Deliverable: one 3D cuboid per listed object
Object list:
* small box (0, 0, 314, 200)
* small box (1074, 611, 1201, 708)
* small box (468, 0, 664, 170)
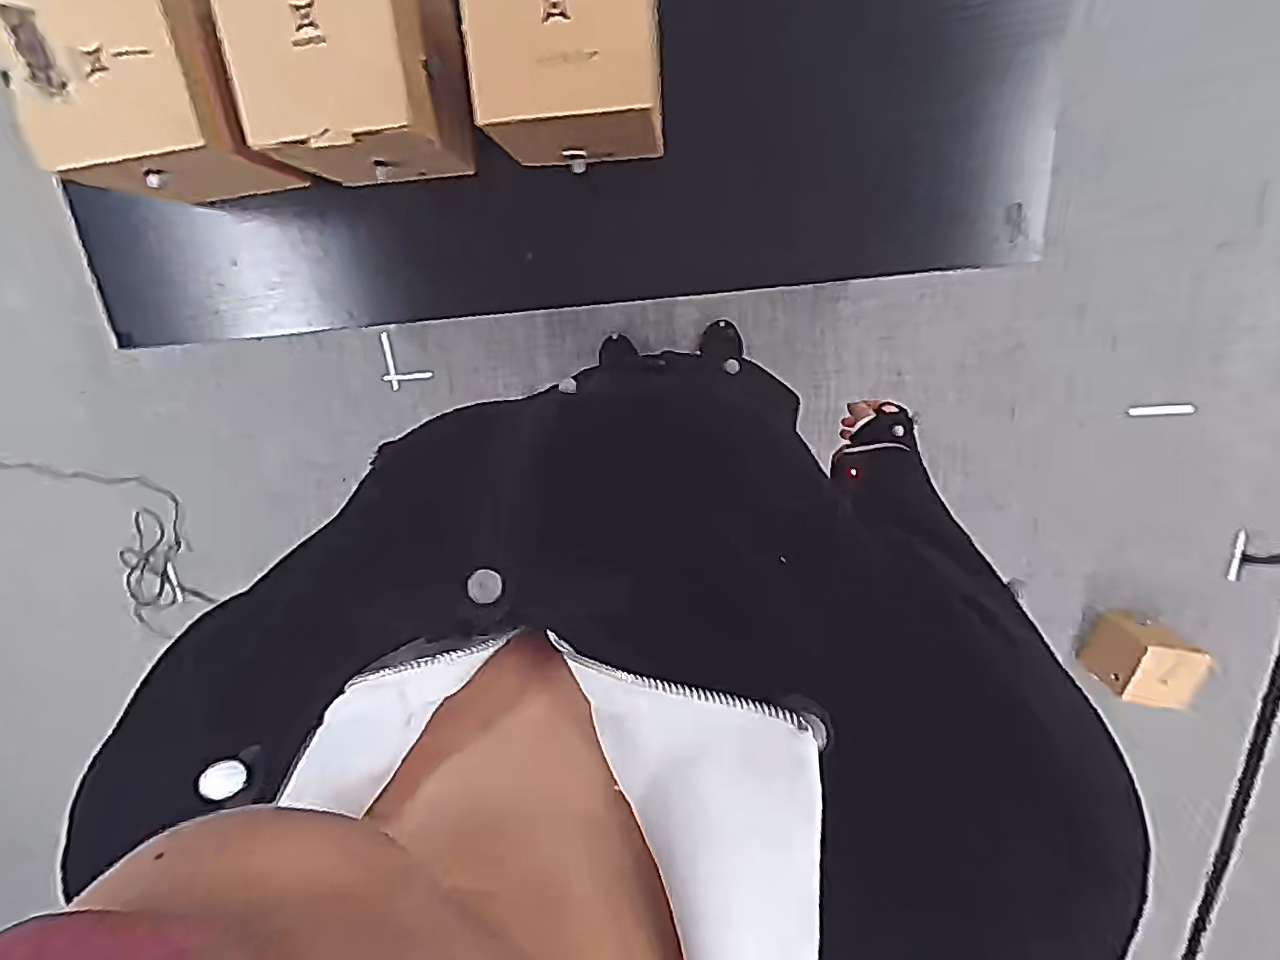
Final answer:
[{"bbox_3d":[-0.503,-0.417,0.586,0.179,0.176,0.168,-6,107,5],"label":"small box"},{"bbox_3d":[1.359,0.491,1.495,0.168,0.176,0.179,10,108,1],"label":"small box"},{"bbox_3d":[-0.064,-0.439,0.550,0.168,0.176,0.179,-2,108,7],"label":"small box"}]
